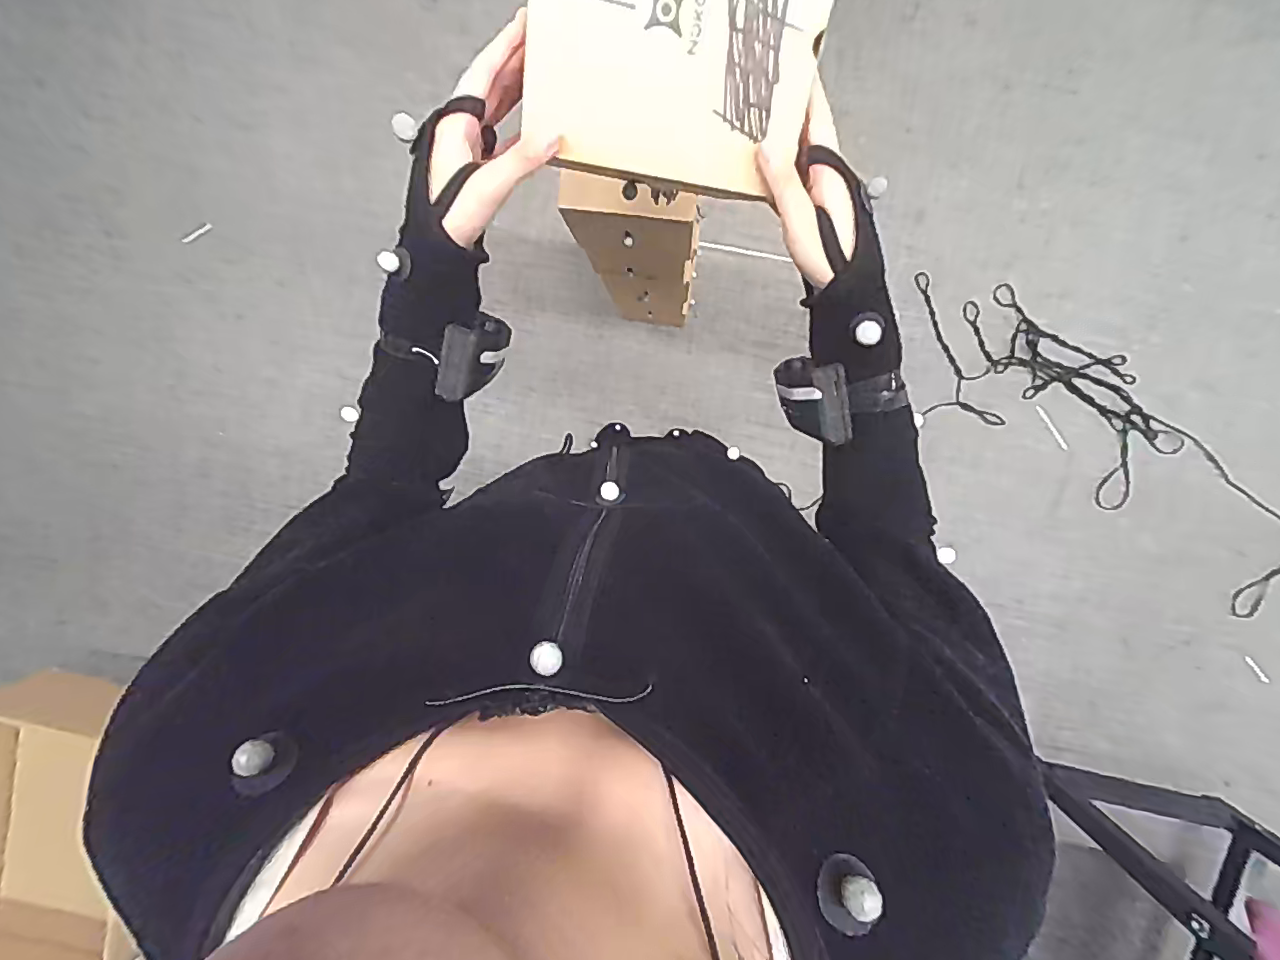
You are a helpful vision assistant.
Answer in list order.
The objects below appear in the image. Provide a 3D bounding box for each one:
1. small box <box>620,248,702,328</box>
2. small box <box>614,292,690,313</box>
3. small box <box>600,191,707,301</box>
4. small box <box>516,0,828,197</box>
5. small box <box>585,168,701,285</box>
[{"bbox_3d":[0.053,-0.497,1.384,0.179,0.176,0.168,10,95,2],"label":"small box"},{"bbox_3d":[0.034,-0.487,1.222,0.179,0.176,0.168,10,96,2],"label":"small box"},{"bbox_3d":[0.027,-0.460,1.060,0.179,0.176,0.168,8,95,2],"label":"small box"},{"bbox_3d":[0.013,-0.309,0.382,0.179,0.176,0.168,6,117,-9],"label":"small box"},{"bbox_3d":[0.012,-0.444,0.899,0.168,0.176,0.179,8,96,3],"label":"small box"}]
